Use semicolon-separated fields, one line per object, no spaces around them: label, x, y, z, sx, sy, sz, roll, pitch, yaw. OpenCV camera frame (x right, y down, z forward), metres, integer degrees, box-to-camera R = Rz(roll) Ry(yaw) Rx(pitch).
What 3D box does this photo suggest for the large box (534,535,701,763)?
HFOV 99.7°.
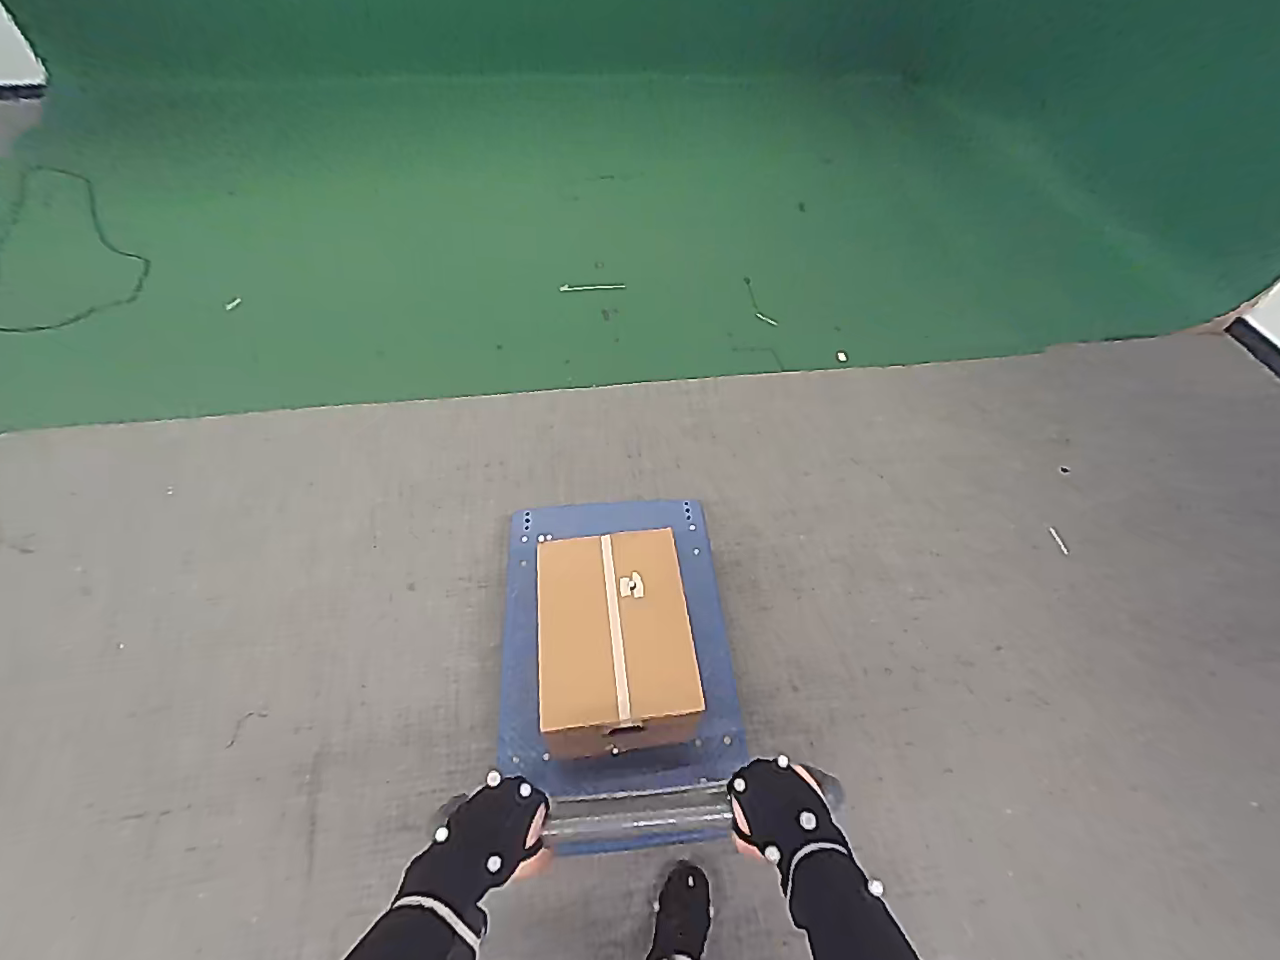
large box;-0.063;0.389;1.251;0.320;0.320;0.408;-5;54;-6
